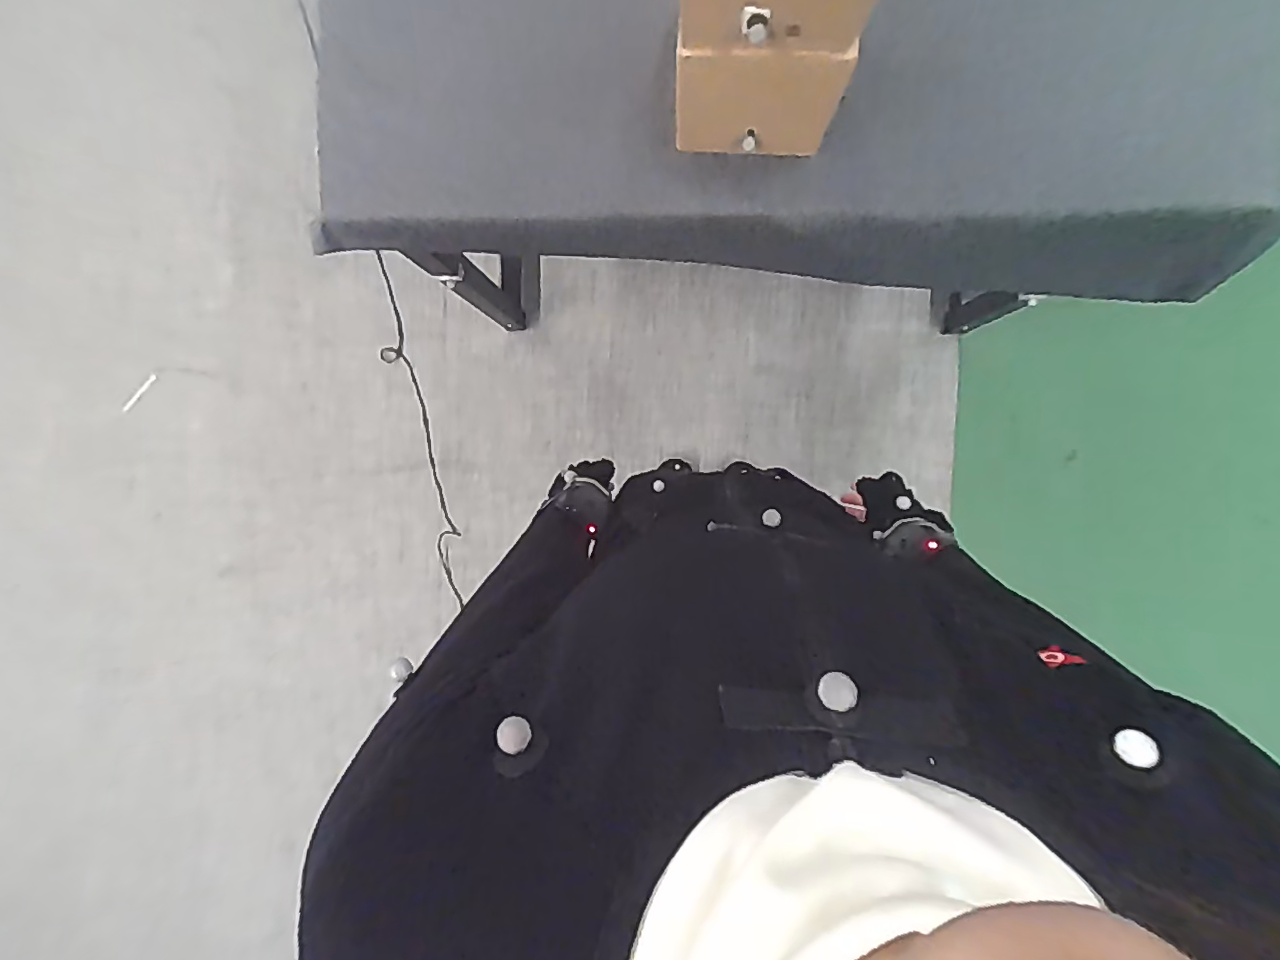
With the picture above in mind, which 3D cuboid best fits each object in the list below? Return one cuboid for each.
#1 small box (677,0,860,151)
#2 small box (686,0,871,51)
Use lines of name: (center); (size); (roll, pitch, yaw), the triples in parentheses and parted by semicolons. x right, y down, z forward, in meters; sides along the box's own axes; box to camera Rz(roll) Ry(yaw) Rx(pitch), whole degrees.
small box: (0.135, -0.497, 0.604); (0.179, 0.176, 0.168); (4, 92, 3)
small box: (0.122, -0.501, 0.442); (0.168, 0.176, 0.179); (3, 93, 5)
